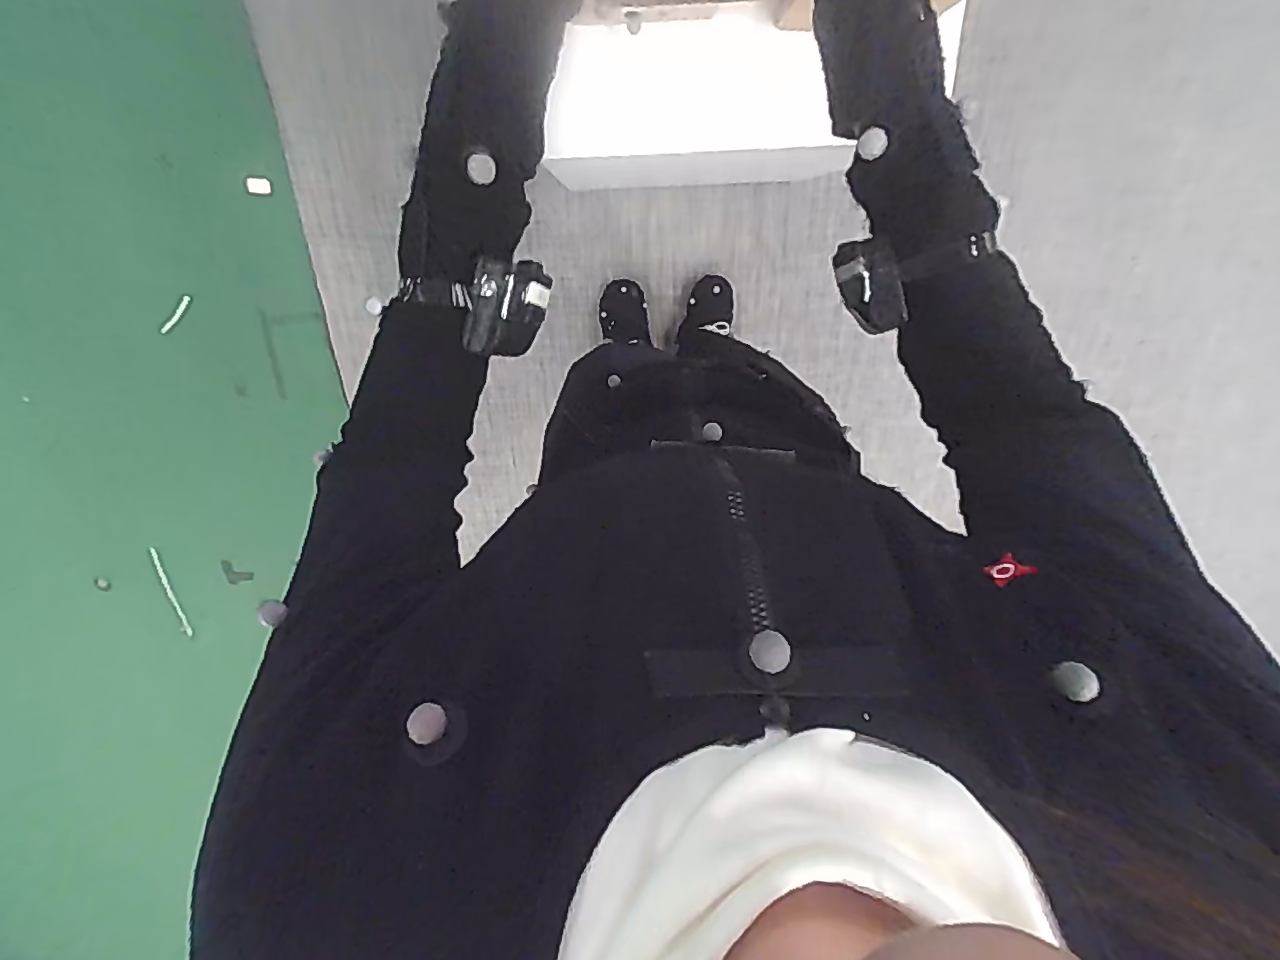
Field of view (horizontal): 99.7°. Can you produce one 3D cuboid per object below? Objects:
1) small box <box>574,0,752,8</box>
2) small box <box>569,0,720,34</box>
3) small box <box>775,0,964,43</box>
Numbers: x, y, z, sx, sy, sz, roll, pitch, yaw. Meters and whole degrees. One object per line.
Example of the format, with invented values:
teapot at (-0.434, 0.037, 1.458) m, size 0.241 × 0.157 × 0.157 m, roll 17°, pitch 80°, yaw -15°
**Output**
small box at (0.014, -0.408, 0.312) m, size 0.168 × 0.176 × 0.179 m, roll -3°, pitch 114°, yaw 0°
small box at (0.002, -0.563, 0.513) m, size 0.168 × 0.176 × 0.179 m, roll -4°, pitch 116°, yaw 0°
small box at (0.238, -0.561, 0.520) m, size 0.168 × 0.176 × 0.179 m, roll 1°, pitch 114°, yaw -2°
